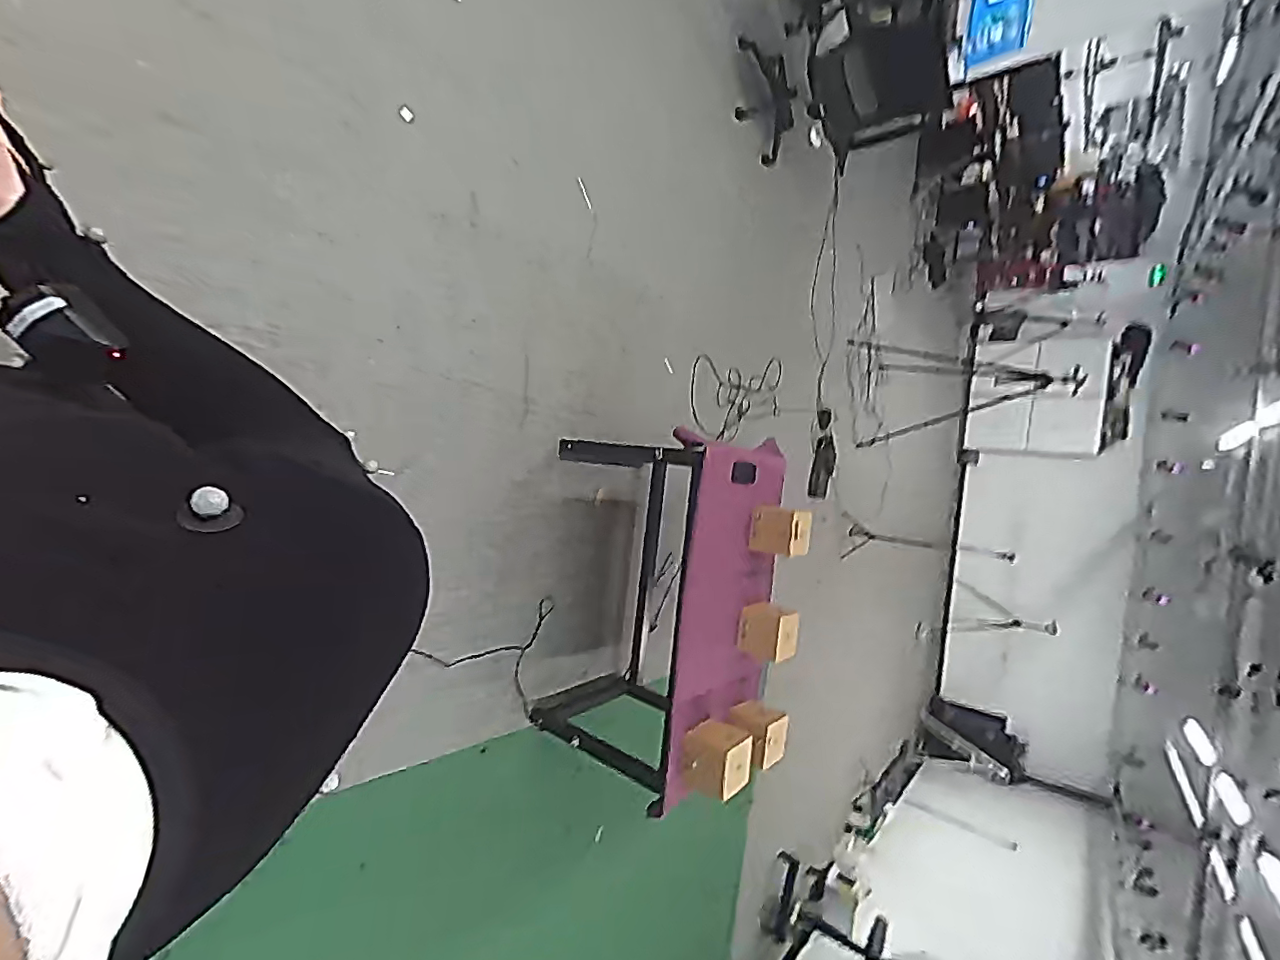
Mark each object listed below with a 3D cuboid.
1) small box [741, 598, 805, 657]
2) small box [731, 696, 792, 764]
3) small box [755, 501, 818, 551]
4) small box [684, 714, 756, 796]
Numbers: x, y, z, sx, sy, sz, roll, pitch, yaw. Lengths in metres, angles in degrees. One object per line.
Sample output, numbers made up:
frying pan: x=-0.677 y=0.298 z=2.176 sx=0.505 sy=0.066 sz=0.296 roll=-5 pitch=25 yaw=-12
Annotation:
small box: x=0.504 y=0.552 z=2.050 sx=0.179 sy=0.176 sz=0.168 roll=7 pitch=90 yaw=-49
small box: x=0.456 y=0.939 z=2.053 sx=0.179 sy=0.176 sz=0.168 roll=8 pitch=89 yaw=-51
small box: x=0.552 y=0.171 z=2.040 sx=0.179 sy=0.176 sz=0.168 roll=4 pitch=92 yaw=-51
small box: x=0.270 y=0.916 z=1.822 sx=0.179 sy=0.176 sz=0.168 roll=4 pitch=91 yaw=-50
